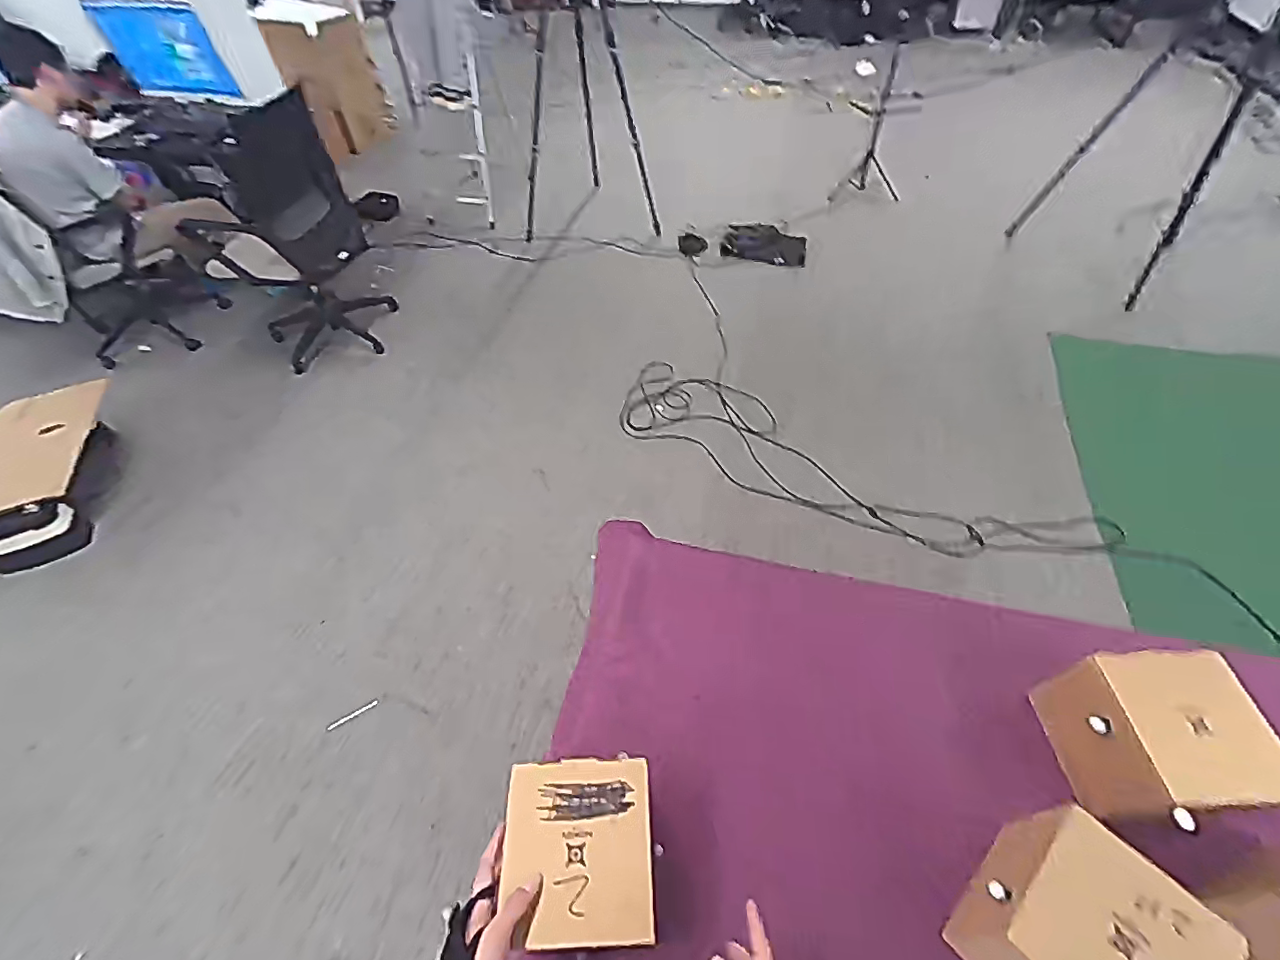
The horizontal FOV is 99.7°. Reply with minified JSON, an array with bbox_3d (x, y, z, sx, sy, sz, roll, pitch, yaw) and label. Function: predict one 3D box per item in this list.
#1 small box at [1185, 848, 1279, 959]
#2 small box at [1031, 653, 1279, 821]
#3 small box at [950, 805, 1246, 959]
[{"bbox_3d":[0.765,0.514,0.582,0.179,0.176,0.168,-17,52,-10],"label":"small box"},{"bbox_3d":[0.681,0.348,0.724,0.168,0.176,0.179,-2,51,1],"label":"small box"},{"bbox_3d":[0.480,0.507,0.597,0.179,0.176,0.168,-36,59,-25],"label":"small box"}]
